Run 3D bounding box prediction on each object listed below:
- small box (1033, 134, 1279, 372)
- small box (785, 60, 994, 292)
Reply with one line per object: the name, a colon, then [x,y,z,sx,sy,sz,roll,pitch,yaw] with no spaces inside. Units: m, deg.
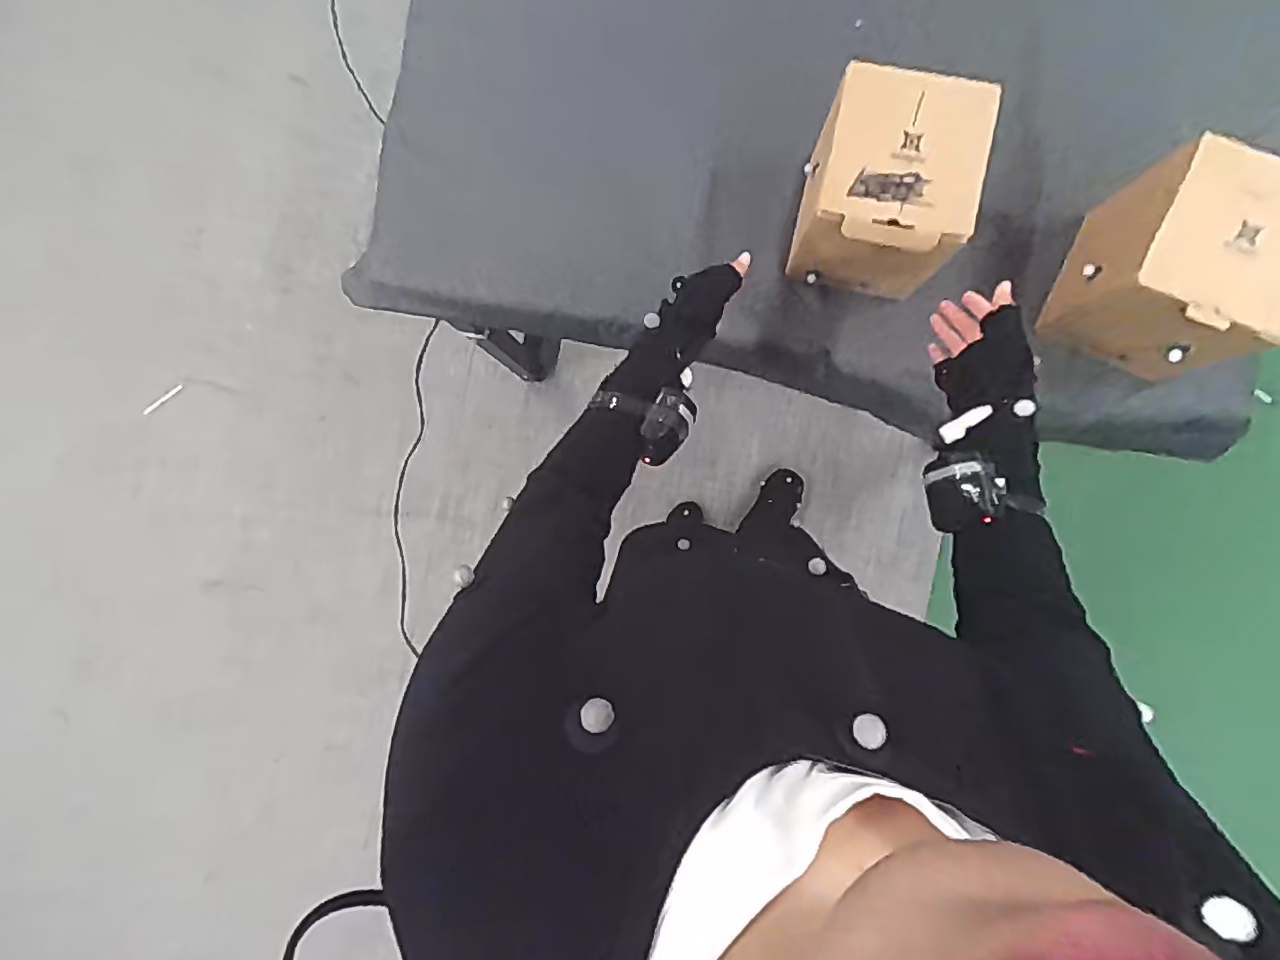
small box: [0.617,-0.249,0.639,0.168,0.176,0.179,25,89,3]
small box: [0.287,-0.353,0.662,0.168,0.176,0.179,13,88,4]
